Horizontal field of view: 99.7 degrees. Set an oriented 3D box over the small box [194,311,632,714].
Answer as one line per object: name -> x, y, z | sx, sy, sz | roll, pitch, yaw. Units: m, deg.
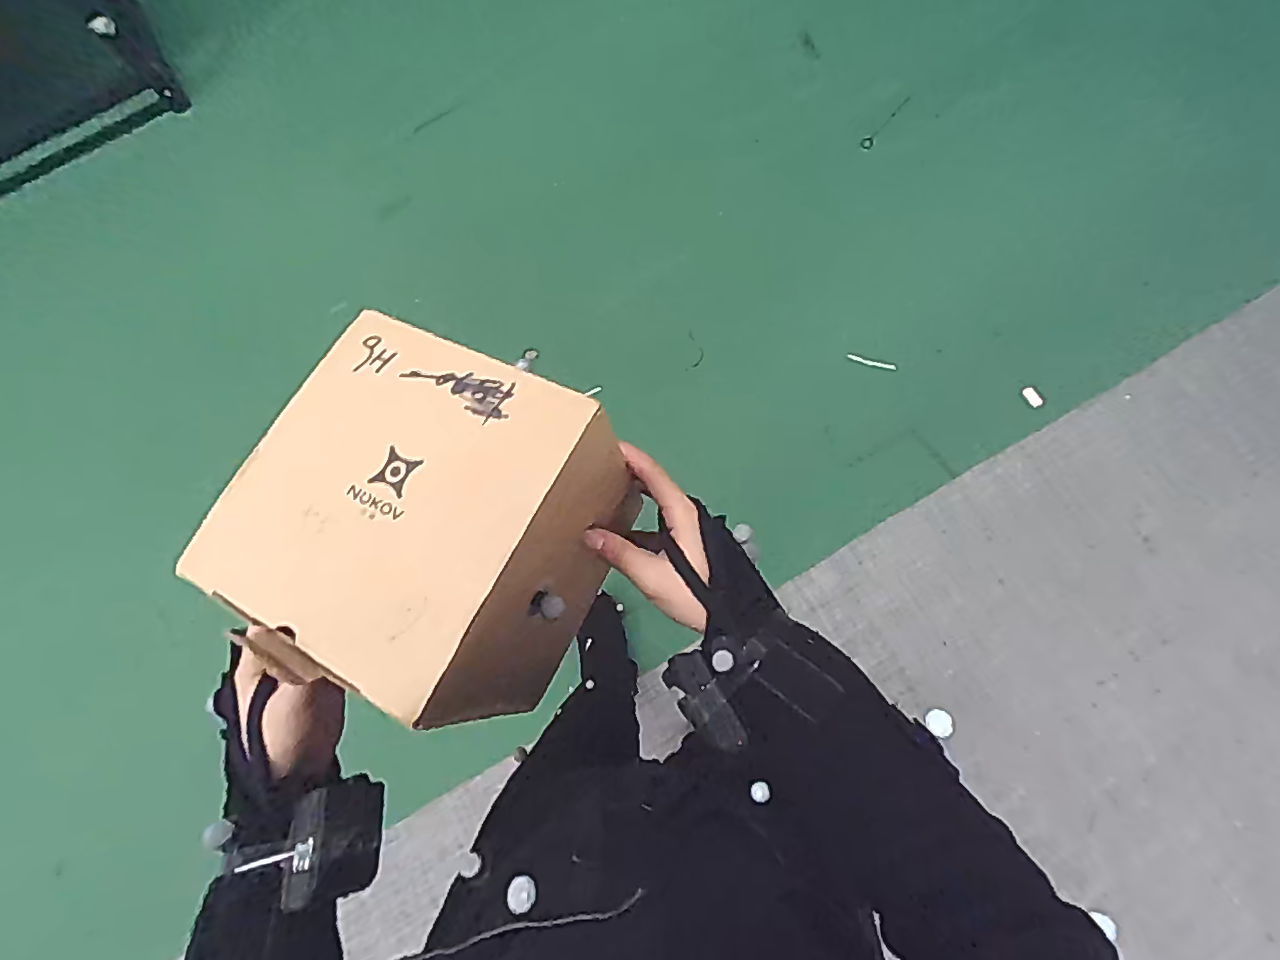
small box -> -0.119, 0.028, 0.360 | 0.168, 0.176, 0.179 | 24, 76, 16
